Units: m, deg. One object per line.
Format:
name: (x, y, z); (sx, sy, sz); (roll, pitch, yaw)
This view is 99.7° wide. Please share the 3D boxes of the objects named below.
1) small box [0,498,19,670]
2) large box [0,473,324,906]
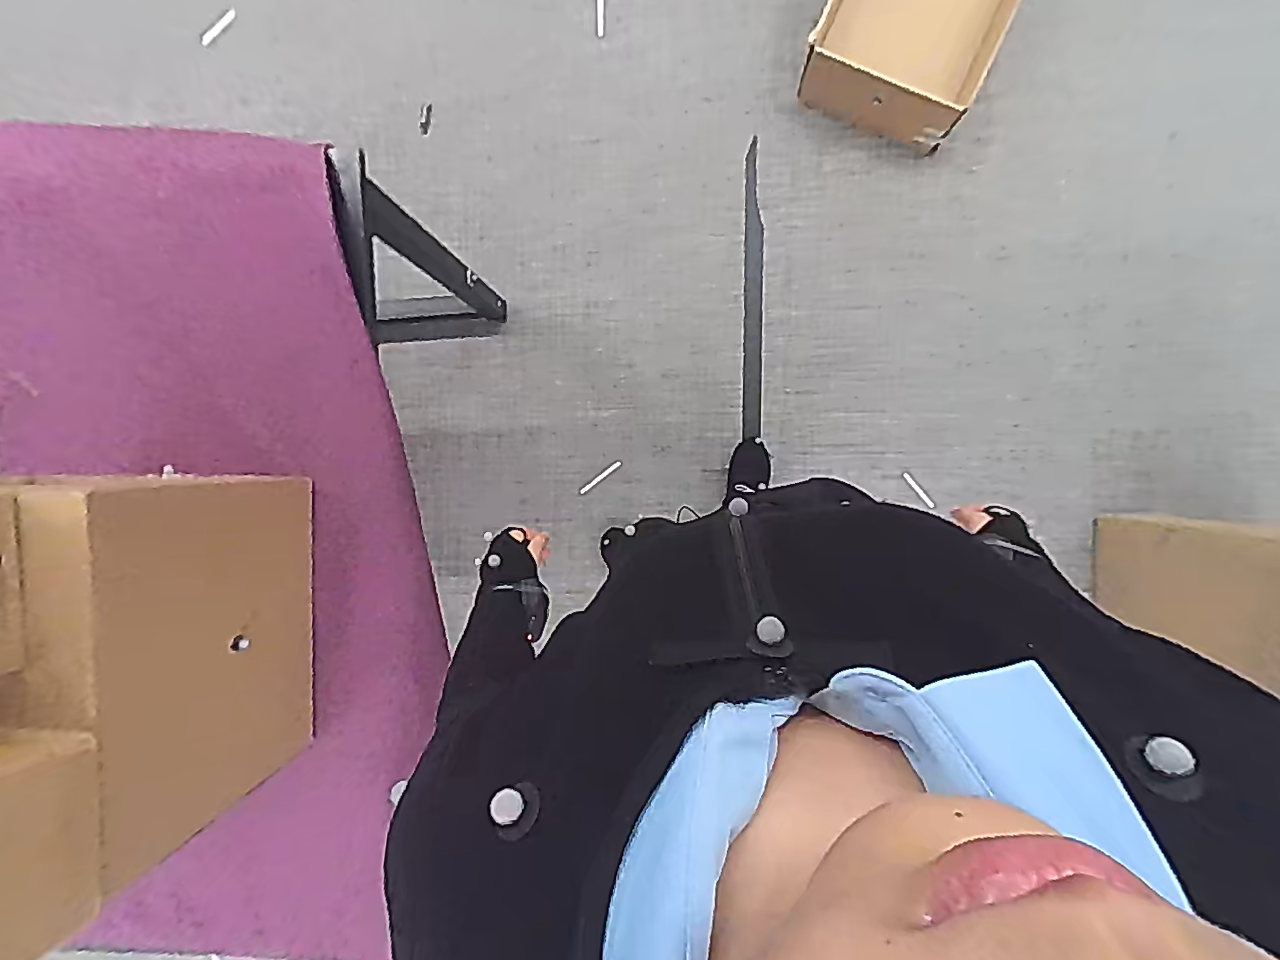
small box: (-0.653, 0.097, 0.413); (0.179, 0.176, 0.168); (0, 94, 5)
large box: (-0.636, 0.199, 0.663); (0.320, 0.320, 0.408); (0, 93, 6)
